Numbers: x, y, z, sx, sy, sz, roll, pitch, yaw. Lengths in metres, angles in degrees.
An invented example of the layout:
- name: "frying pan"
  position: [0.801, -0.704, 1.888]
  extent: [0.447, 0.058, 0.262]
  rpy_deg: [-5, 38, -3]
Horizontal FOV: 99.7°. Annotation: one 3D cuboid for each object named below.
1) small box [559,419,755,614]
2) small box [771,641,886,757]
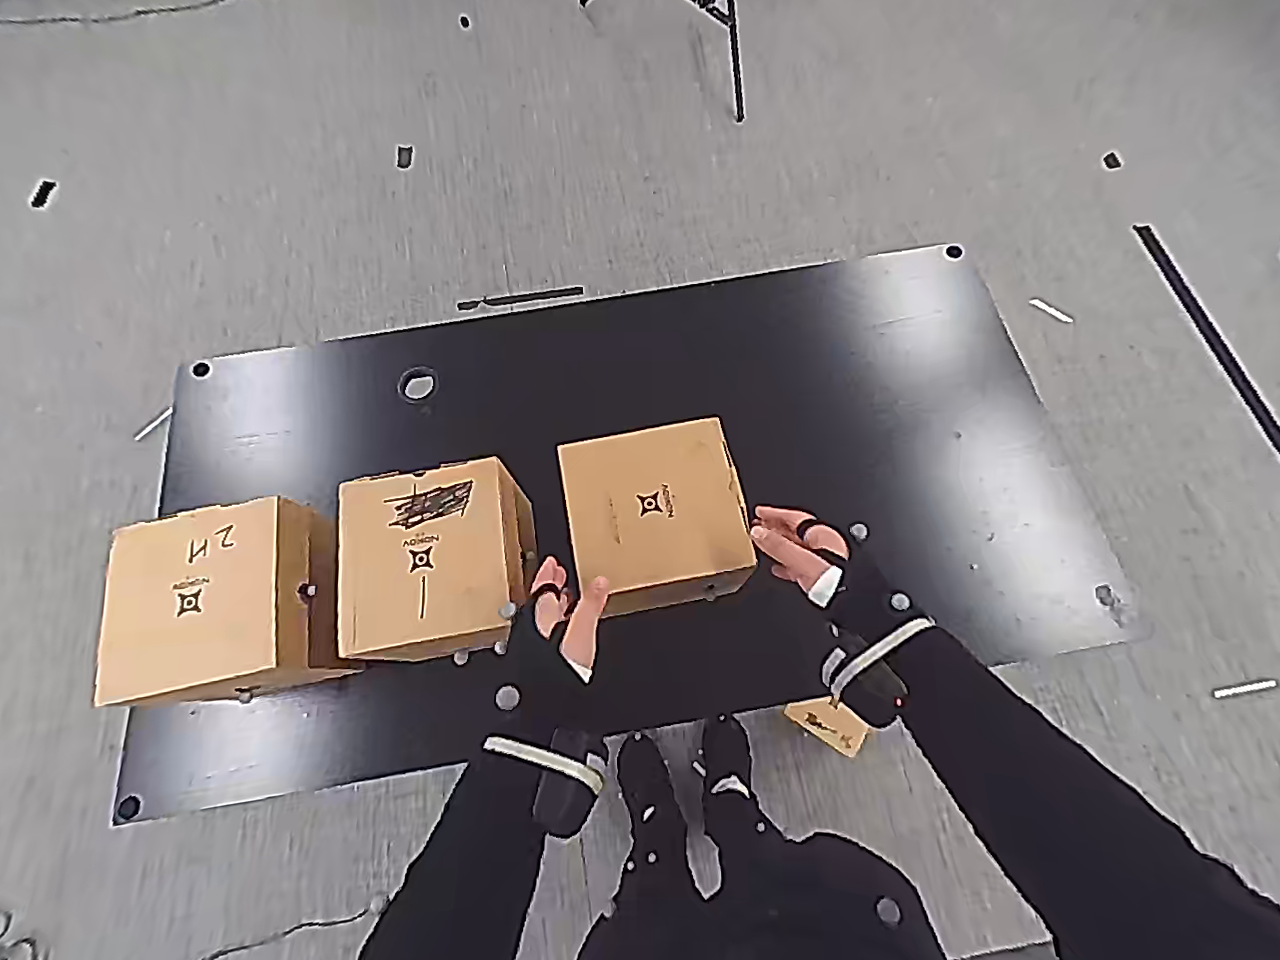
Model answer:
- name: "small box"
  position: [0.015, 0.051, 0.620]
  extent: [0.179, 0.176, 0.168]
  rpy_deg: [-11, 69, -1]
- name: "small box"
  position: [0.415, 0.488, 1.223]
  extent: [0.168, 0.176, 0.179]
  rpy_deg: [32, 74, 12]
